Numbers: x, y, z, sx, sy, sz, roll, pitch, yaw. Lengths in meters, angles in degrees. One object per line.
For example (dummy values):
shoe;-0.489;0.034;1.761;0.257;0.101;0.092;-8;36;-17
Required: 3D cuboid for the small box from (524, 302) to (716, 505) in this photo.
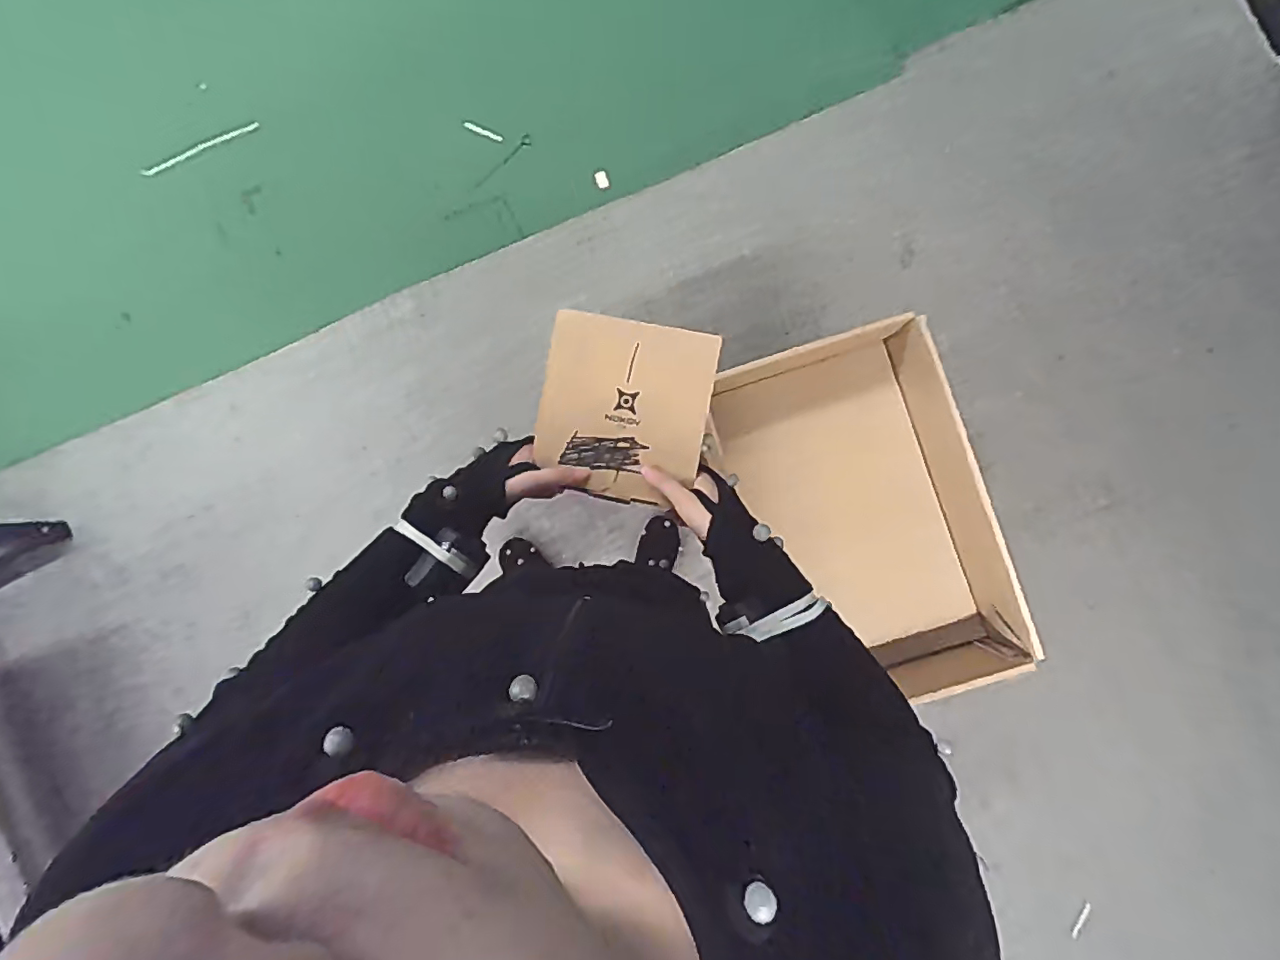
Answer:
small box;-0.018;-0.080;0.611;0.168;0.176;0.179;11;94;1
